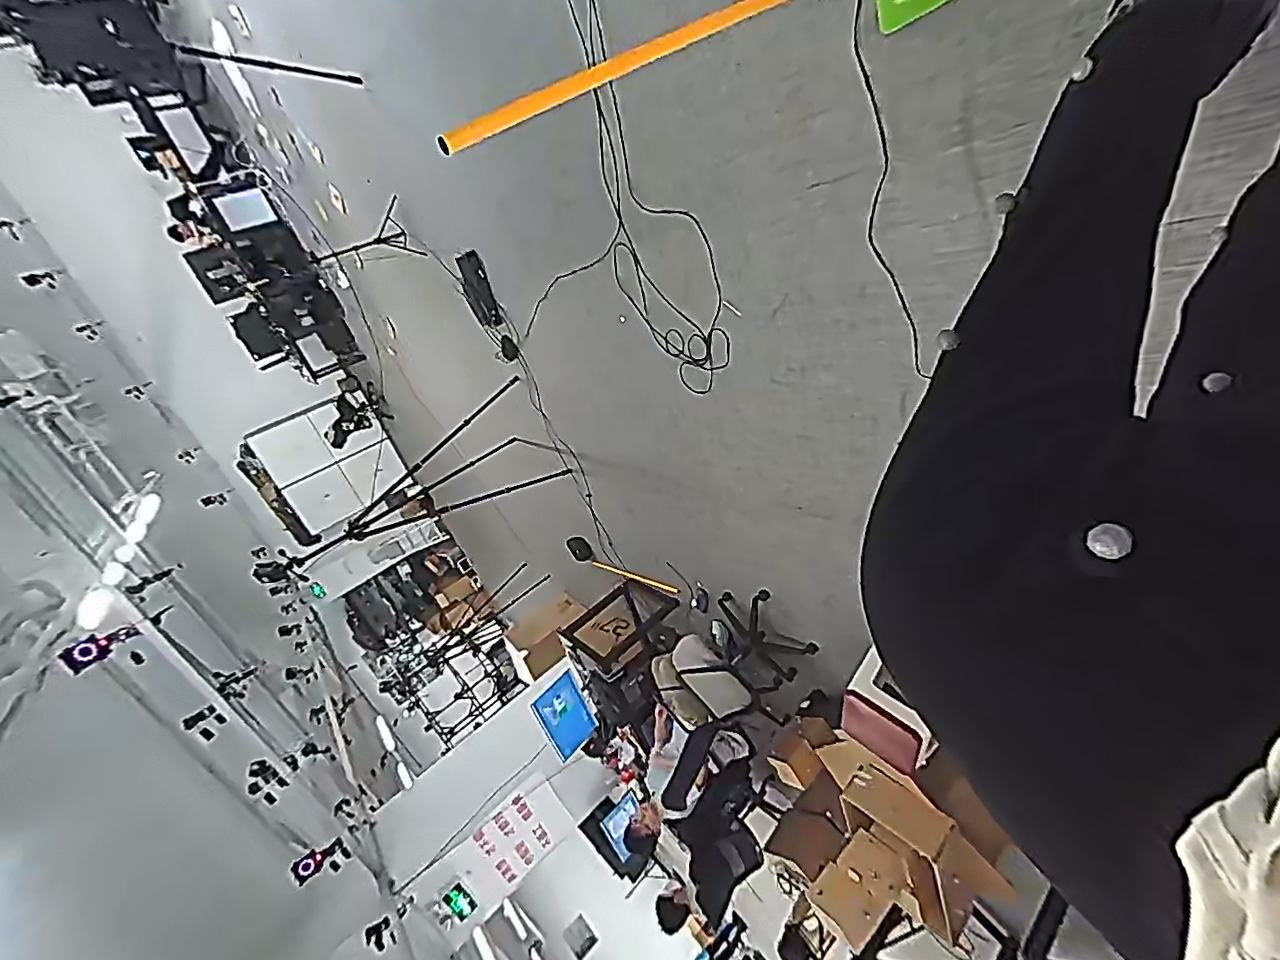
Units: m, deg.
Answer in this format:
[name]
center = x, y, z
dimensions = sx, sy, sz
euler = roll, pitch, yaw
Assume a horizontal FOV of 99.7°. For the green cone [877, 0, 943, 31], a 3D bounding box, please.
[green cone]
center = 0.478, -1.059, 1.111
dimensions = 0.202, 0.368, 0.200
euler = 13, 131, 55
